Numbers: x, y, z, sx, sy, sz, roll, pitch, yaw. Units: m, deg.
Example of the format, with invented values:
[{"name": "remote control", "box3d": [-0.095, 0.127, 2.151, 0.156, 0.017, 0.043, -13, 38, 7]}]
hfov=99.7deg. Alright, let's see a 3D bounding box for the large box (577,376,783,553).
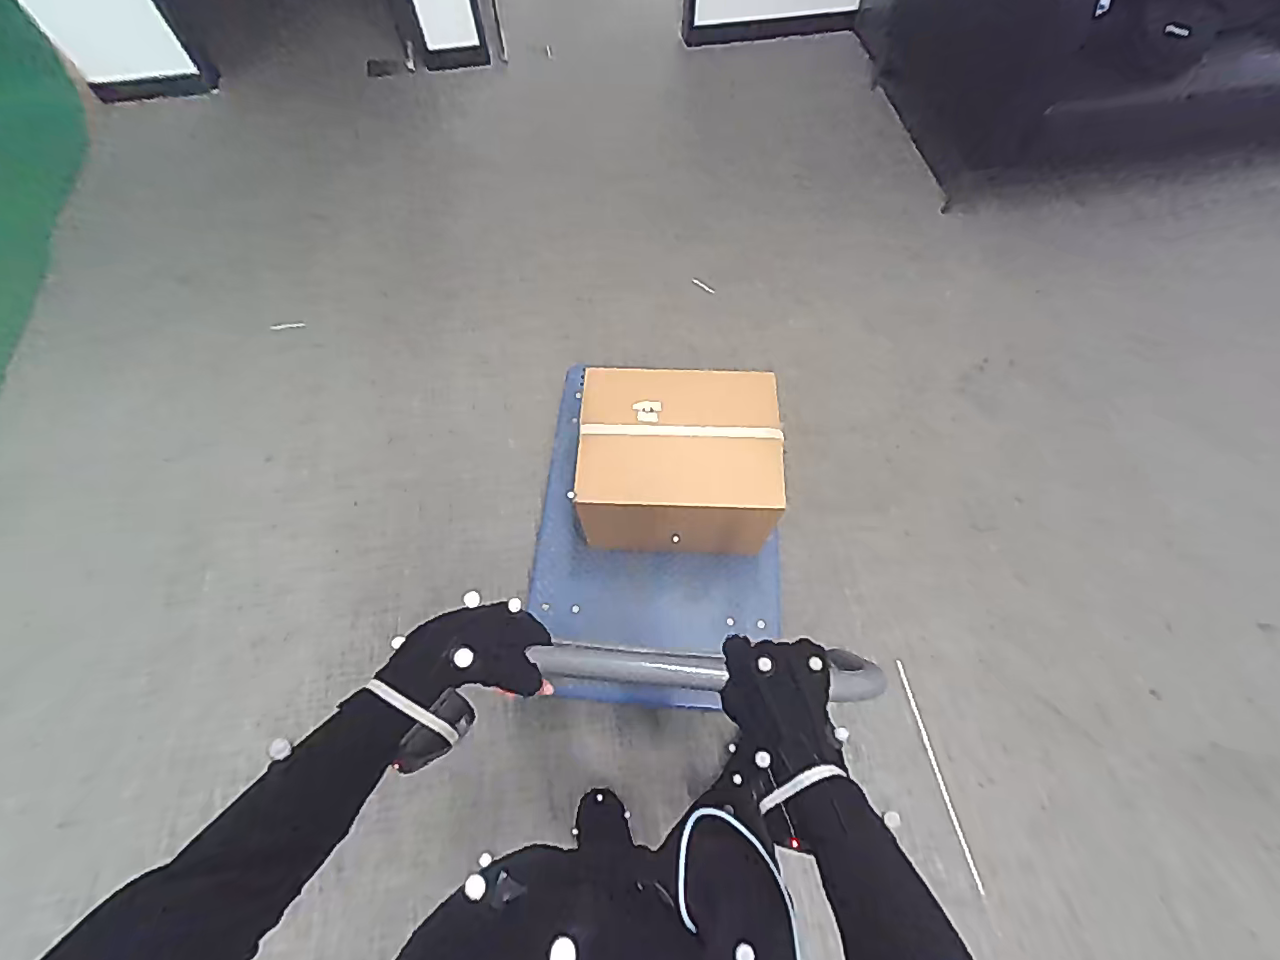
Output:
[{"name": "large box", "box3d": [0.084, -0.023, 1.232, 0.408, 0.320, 0.320, 1, 65, 2]}]
